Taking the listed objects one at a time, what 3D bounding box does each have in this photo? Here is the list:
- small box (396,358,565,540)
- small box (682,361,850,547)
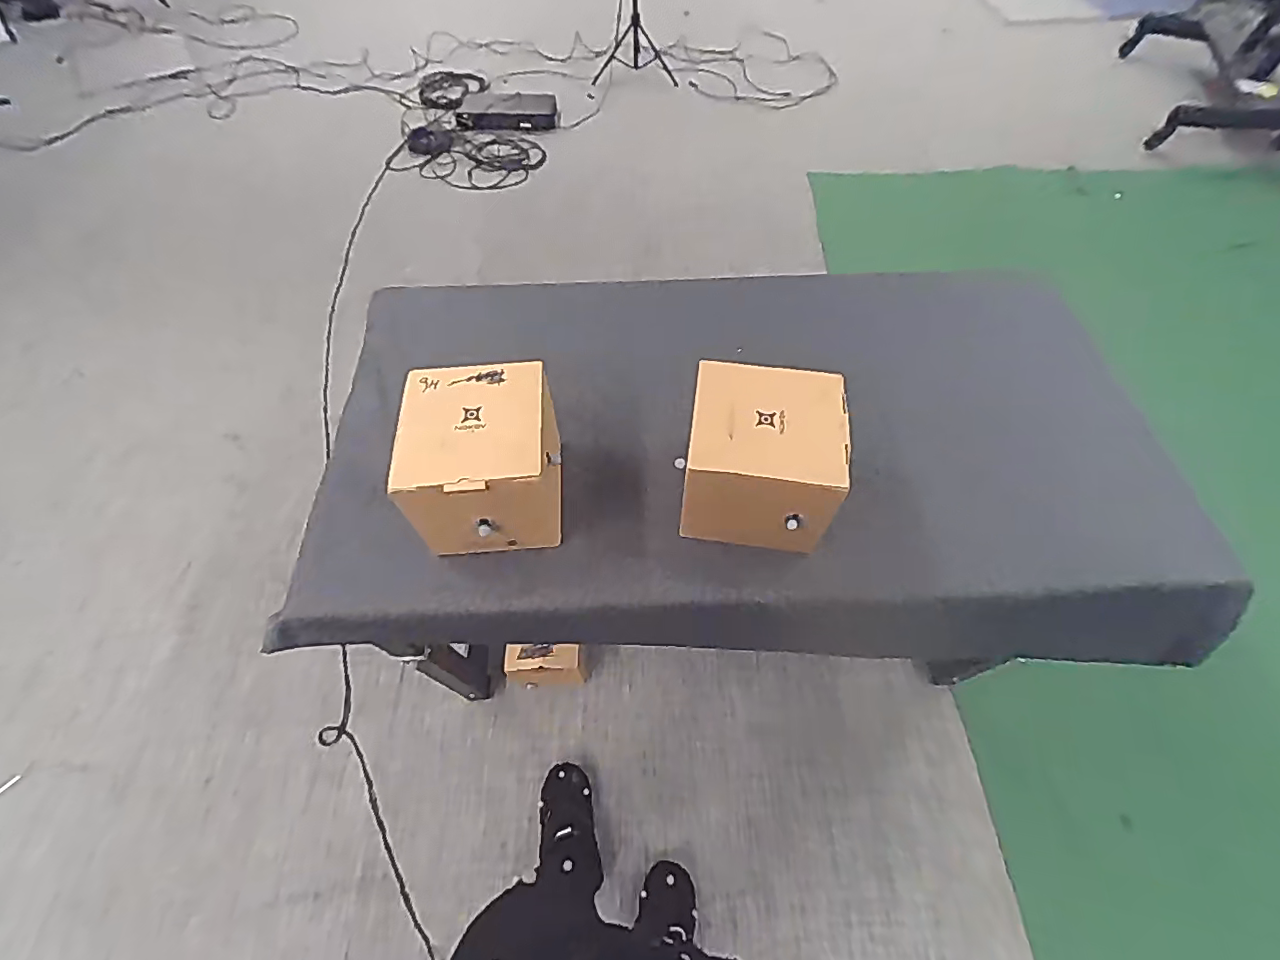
[{"bbox_3d":[-0.188,-0.031,0.694,0.168,0.176,0.179,-3,59,-2],"label":"small box"},{"bbox_3d":[0.153,-0.026,0.691,0.179,0.176,0.168,7,59,6],"label":"small box"}]
